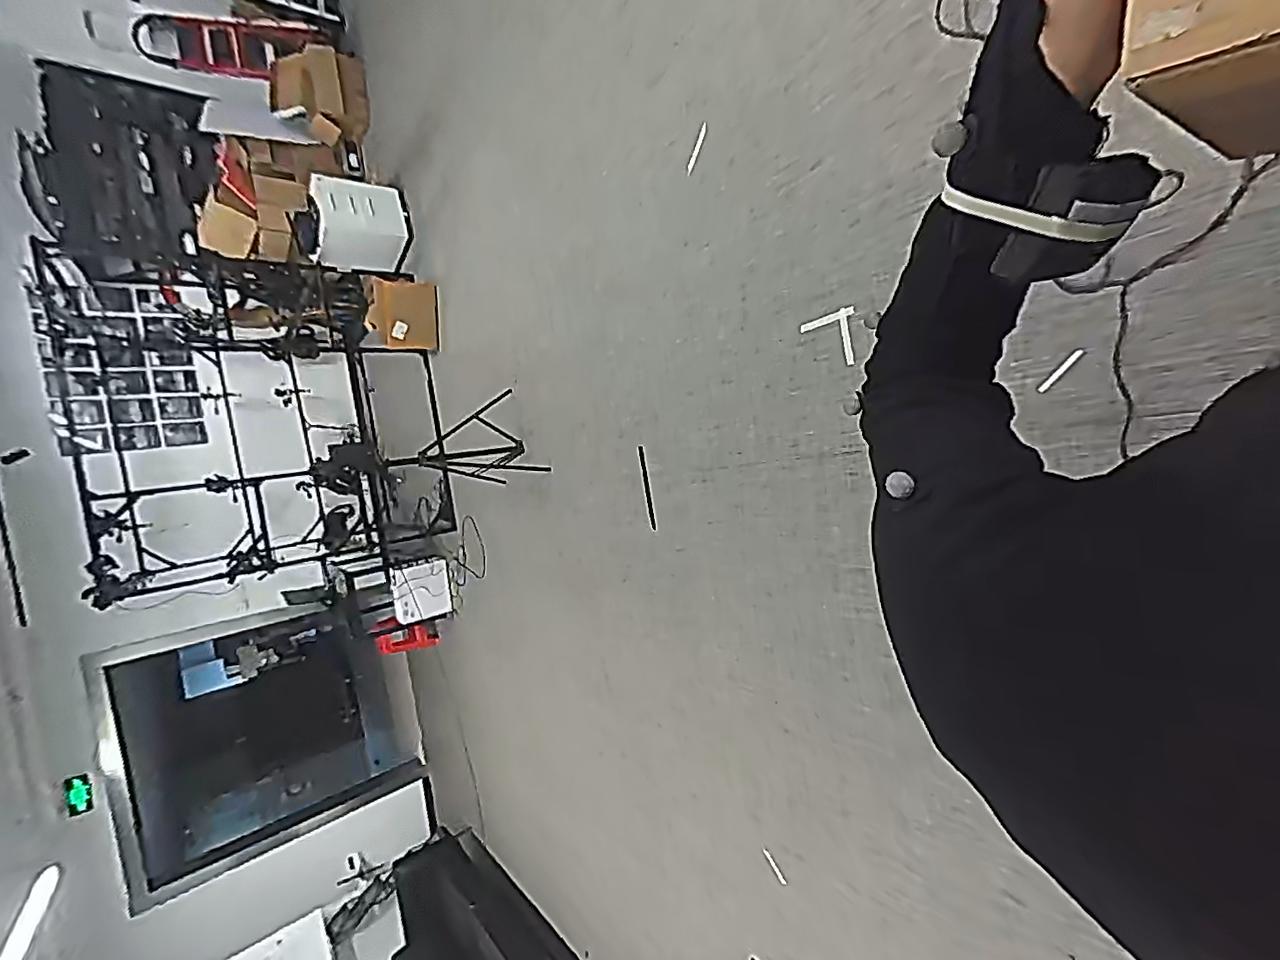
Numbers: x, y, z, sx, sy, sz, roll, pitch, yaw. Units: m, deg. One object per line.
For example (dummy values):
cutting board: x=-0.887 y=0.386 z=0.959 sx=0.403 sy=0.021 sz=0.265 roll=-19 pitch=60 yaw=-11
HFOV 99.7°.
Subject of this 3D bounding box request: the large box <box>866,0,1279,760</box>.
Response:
large box: x=0.370 y=-0.037 z=0.200 sx=0.320 sy=0.320 sz=0.408 roll=-45 pitch=82 yaw=10
